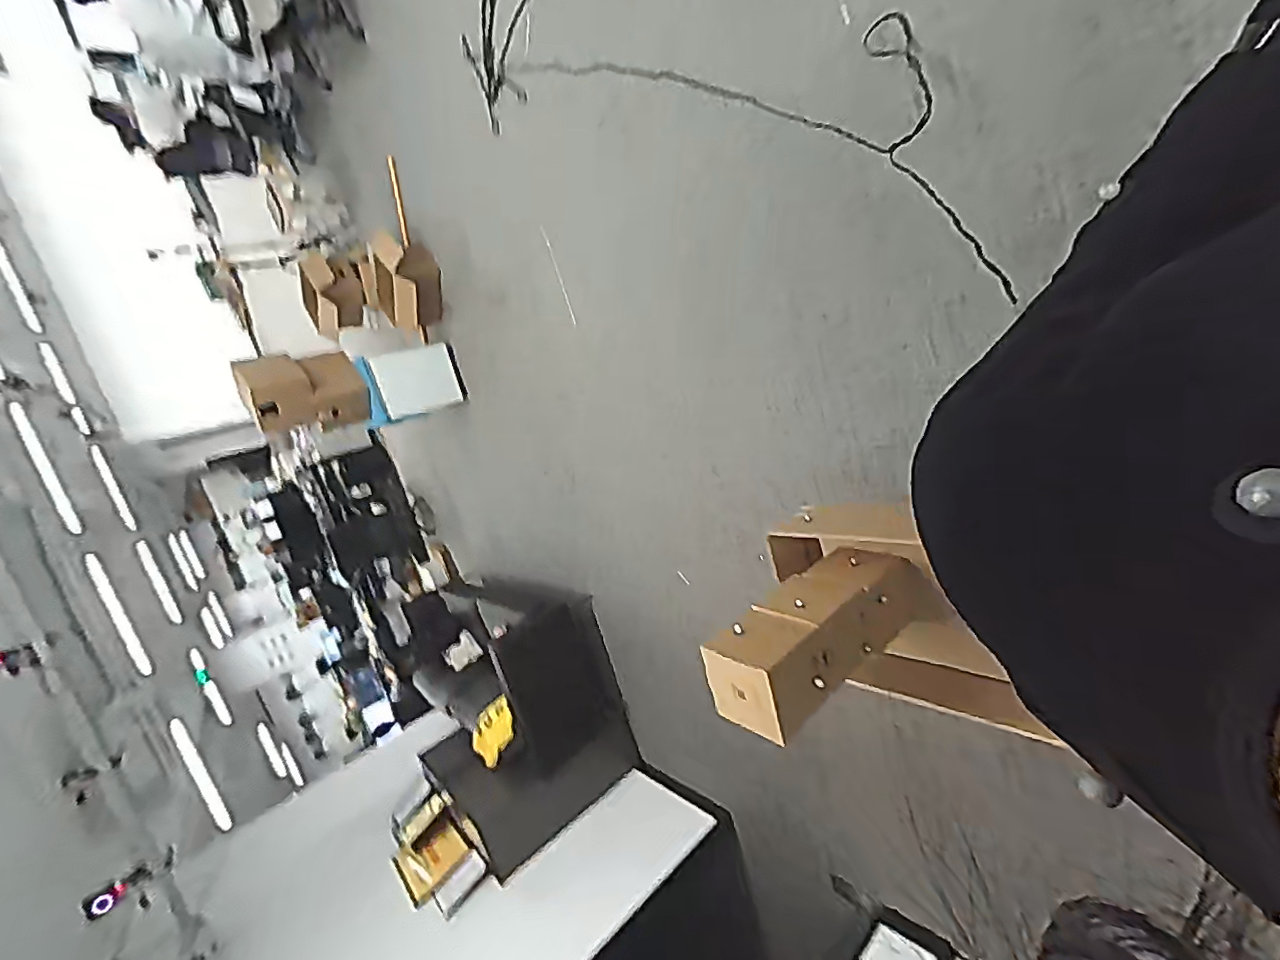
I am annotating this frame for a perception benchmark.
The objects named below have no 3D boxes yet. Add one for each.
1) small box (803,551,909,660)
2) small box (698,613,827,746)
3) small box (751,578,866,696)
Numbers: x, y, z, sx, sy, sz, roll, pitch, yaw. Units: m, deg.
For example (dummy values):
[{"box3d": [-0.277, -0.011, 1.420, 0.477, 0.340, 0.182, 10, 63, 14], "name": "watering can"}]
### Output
[{"box3d": [0.508, 0.283, 1.266, 0.168, 0.176, 0.179, 6, 112, 52], "name": "small box"}, {"box3d": [0.249, 0.390, 1.096, 0.179, 0.176, 0.168, 3, 111, 52], "name": "small box"}, {"box3d": [0.375, 0.331, 1.183, 0.179, 0.176, 0.168, 4, 111, 53], "name": "small box"}]
